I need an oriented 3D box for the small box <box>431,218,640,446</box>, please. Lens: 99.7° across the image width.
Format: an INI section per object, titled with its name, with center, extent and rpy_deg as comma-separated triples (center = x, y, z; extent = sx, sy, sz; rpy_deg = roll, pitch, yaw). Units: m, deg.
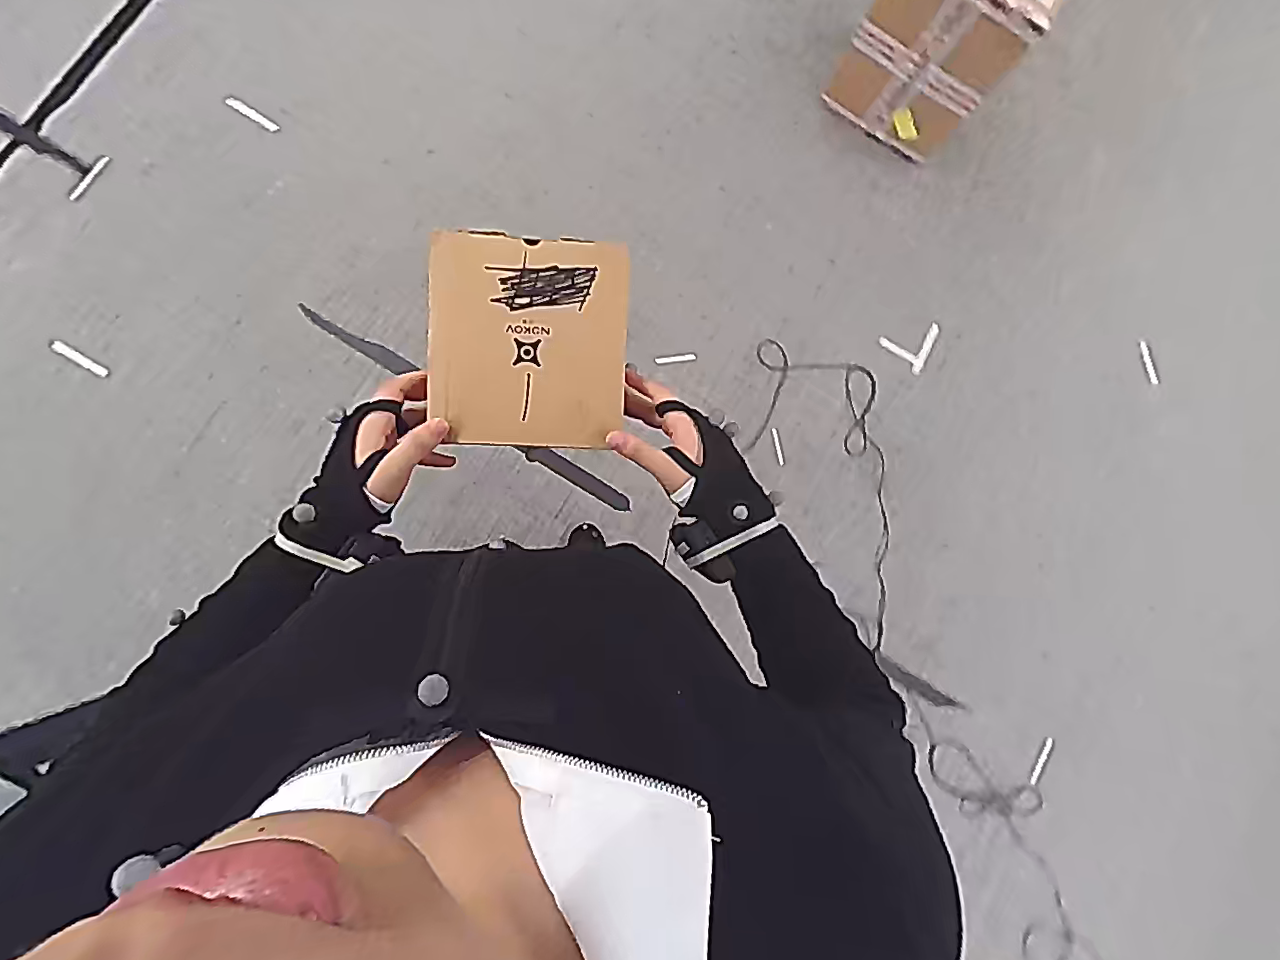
[small box]
center = -0.094, -0.126, 0.526
extent = 0.168, 0.176, 0.179
rpy_deg = 3, 95, -5
